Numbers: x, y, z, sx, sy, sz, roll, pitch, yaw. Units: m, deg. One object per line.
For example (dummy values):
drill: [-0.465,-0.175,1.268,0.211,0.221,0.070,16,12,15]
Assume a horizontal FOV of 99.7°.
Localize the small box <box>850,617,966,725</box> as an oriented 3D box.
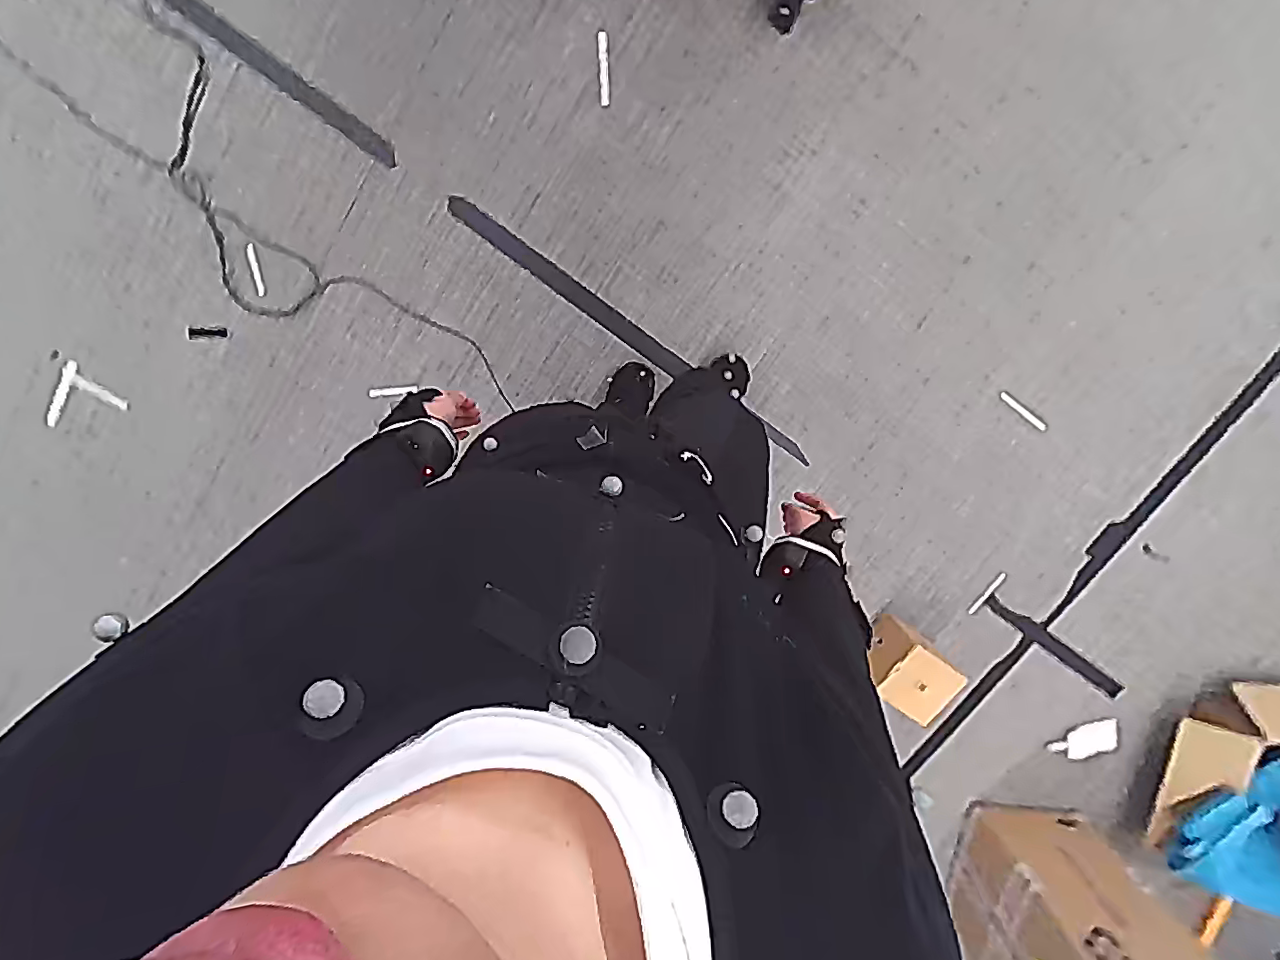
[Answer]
small box: [0.694,0.492,1.421,0.179,0.176,0.168,34,101,-8]
